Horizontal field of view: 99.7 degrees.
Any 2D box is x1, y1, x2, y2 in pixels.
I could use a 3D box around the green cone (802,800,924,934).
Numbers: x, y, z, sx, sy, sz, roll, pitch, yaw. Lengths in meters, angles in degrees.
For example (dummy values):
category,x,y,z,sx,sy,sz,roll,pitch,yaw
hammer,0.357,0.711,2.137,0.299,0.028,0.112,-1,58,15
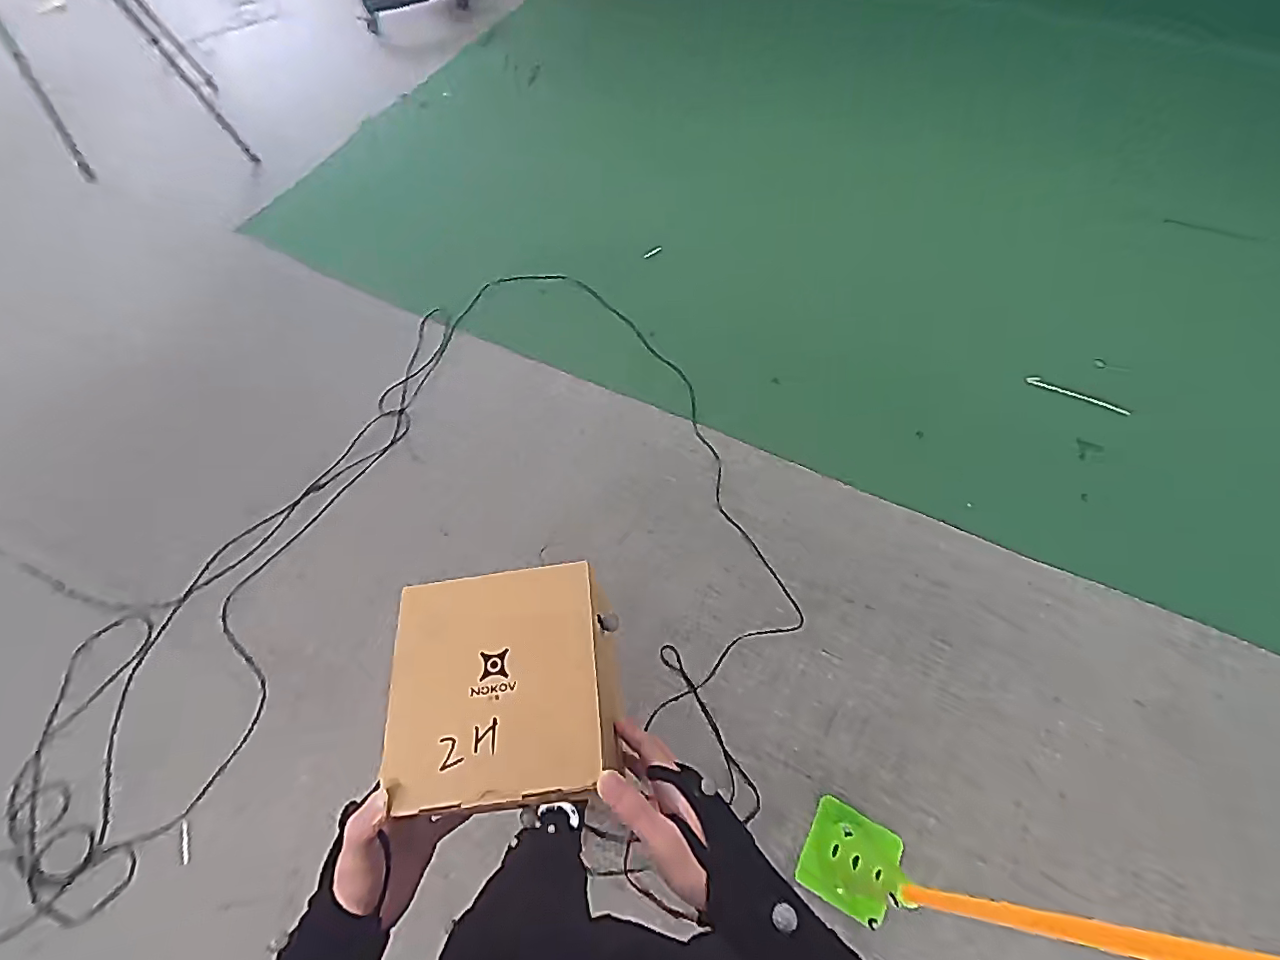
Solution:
category,x,y,z,sx,sy,sz,roll,pitch,yaw
green cone,0.479,0.784,1.073,0.202,0.368,0.200,24,65,16
